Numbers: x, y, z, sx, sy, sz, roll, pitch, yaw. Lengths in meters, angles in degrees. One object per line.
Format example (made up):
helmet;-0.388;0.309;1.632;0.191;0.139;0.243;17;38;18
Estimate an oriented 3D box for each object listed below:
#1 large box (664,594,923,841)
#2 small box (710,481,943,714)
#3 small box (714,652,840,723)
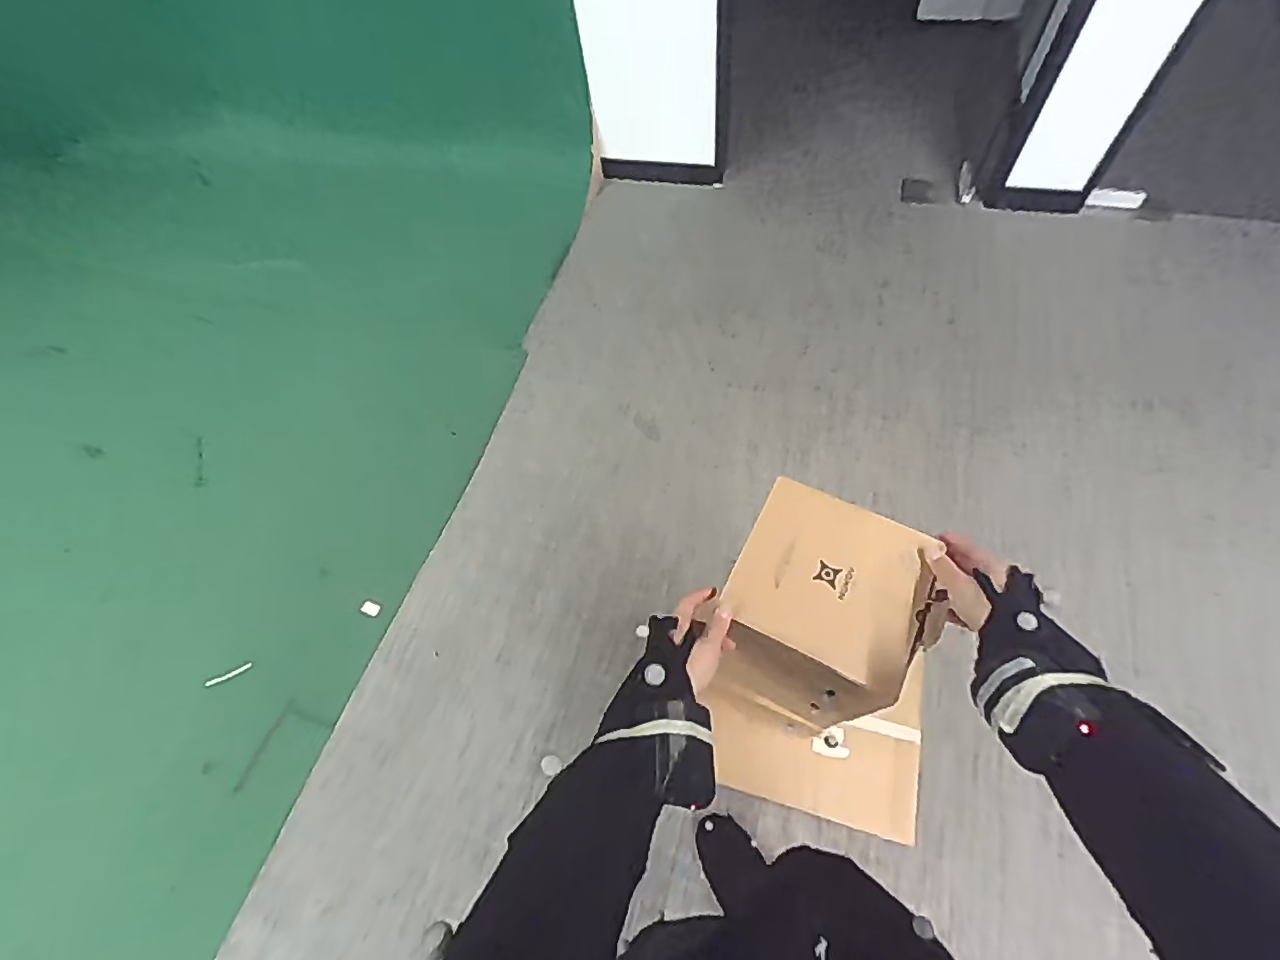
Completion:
large box;0.279;0.454;1.053;0.408;0.320;0.320;12;64;12
small box;0.188;0.134;0.587;0.179;0.176;0.168;23;64;18
small box;0.208;0.209;0.730;0.179;0.176;0.168;23;65;17
